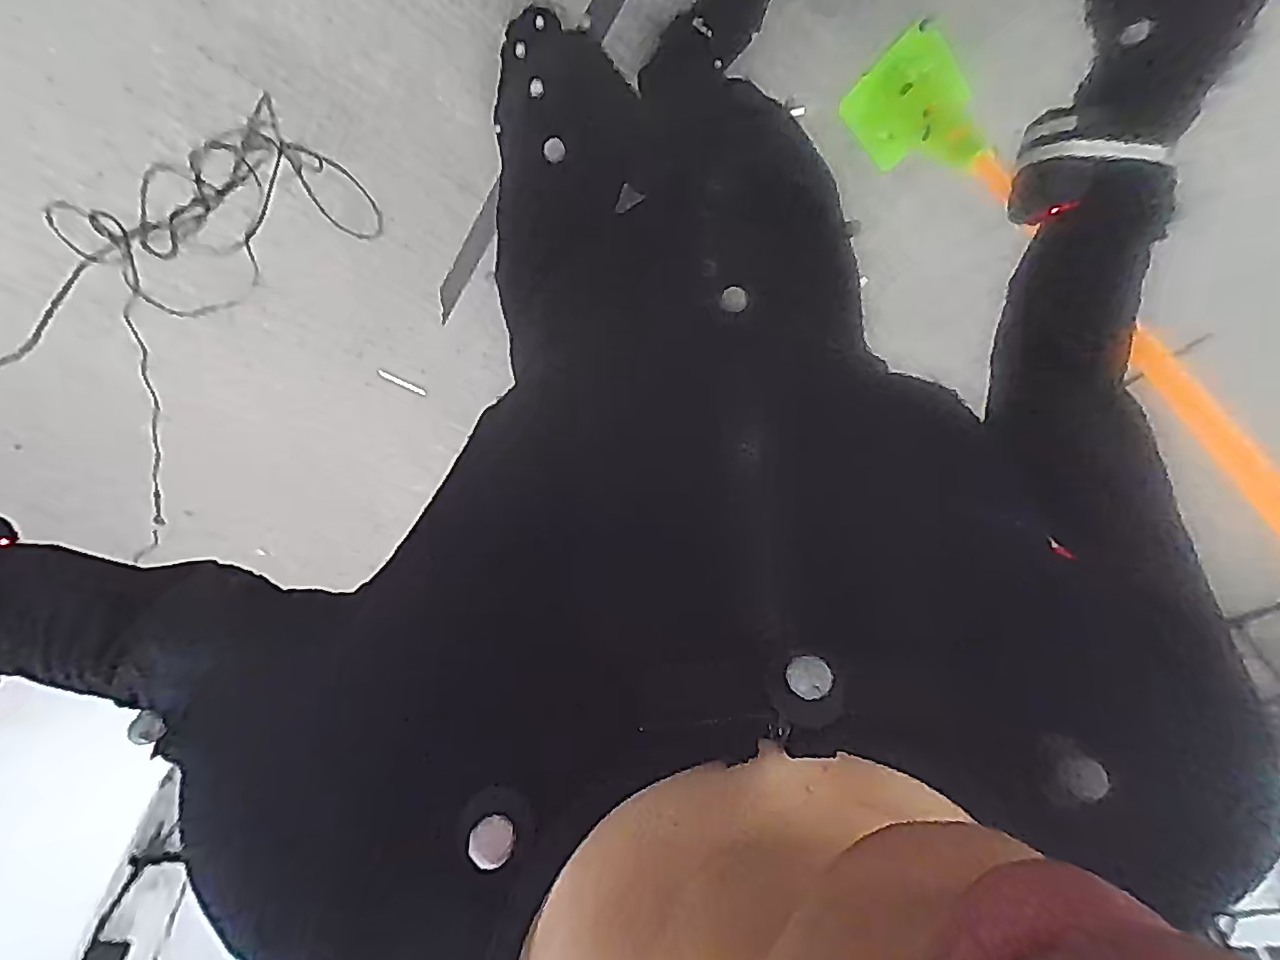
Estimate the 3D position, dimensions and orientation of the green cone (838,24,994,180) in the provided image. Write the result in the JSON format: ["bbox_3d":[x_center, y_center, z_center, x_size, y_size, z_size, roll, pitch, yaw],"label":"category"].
[{"bbox_3d":[0.548,-0.650,1.007,0.202,0.368,0.200,27,131,-31],"label":"green cone"}]
